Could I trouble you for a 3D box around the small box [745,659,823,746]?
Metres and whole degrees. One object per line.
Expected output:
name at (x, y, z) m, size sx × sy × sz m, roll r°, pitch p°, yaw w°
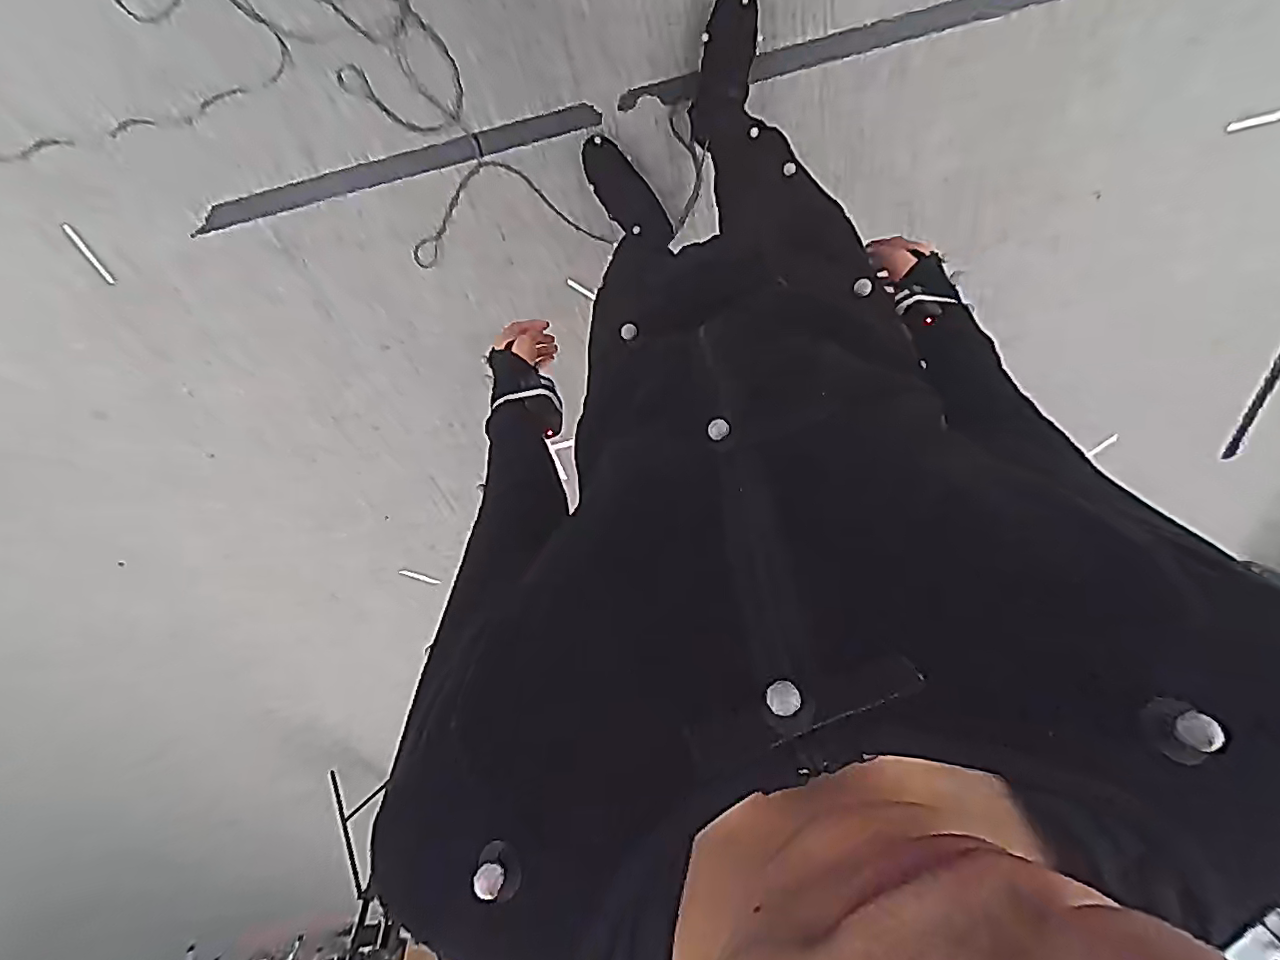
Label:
small box at (0.425, 0.658, 1.606) m, size 0.179 × 0.176 × 0.168 m, roll -17°, pitch 128°, yaw 8°
